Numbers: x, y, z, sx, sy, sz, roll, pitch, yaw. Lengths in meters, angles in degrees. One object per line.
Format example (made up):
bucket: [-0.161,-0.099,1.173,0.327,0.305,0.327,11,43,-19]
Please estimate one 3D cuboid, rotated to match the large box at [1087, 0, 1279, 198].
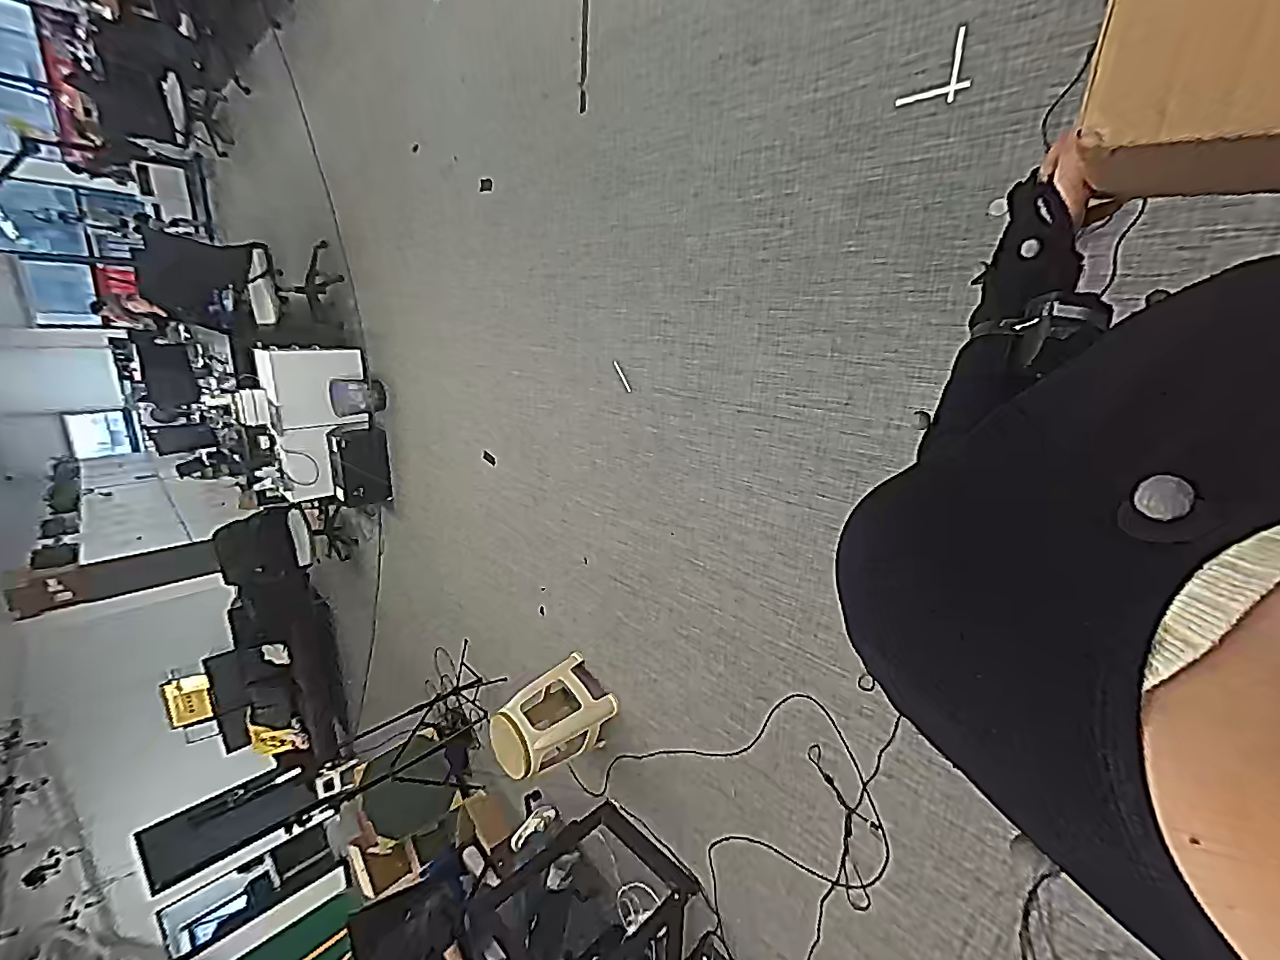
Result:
large box: [0.449,-0.296,0.189,0.408,0.320,0.320,16,118,34]
